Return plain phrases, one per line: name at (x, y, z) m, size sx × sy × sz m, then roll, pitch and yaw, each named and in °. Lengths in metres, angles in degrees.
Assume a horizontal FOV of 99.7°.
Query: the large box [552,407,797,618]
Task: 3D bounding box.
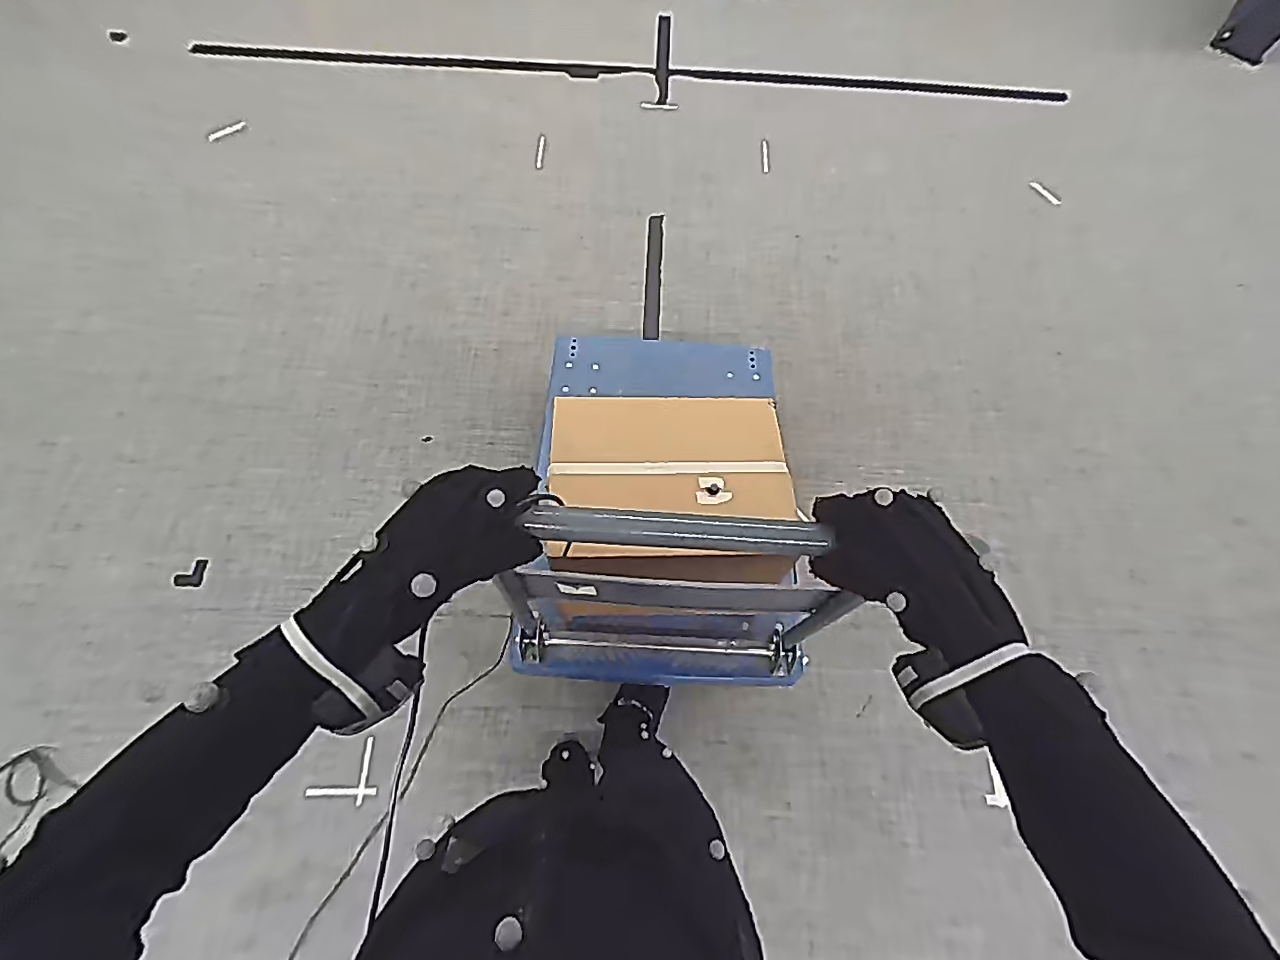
large box at (0.040, 0.072, 1.060) m, size 0.408 × 0.320 × 0.320 m, roll 0°, pitch 60°, yaw -5°
